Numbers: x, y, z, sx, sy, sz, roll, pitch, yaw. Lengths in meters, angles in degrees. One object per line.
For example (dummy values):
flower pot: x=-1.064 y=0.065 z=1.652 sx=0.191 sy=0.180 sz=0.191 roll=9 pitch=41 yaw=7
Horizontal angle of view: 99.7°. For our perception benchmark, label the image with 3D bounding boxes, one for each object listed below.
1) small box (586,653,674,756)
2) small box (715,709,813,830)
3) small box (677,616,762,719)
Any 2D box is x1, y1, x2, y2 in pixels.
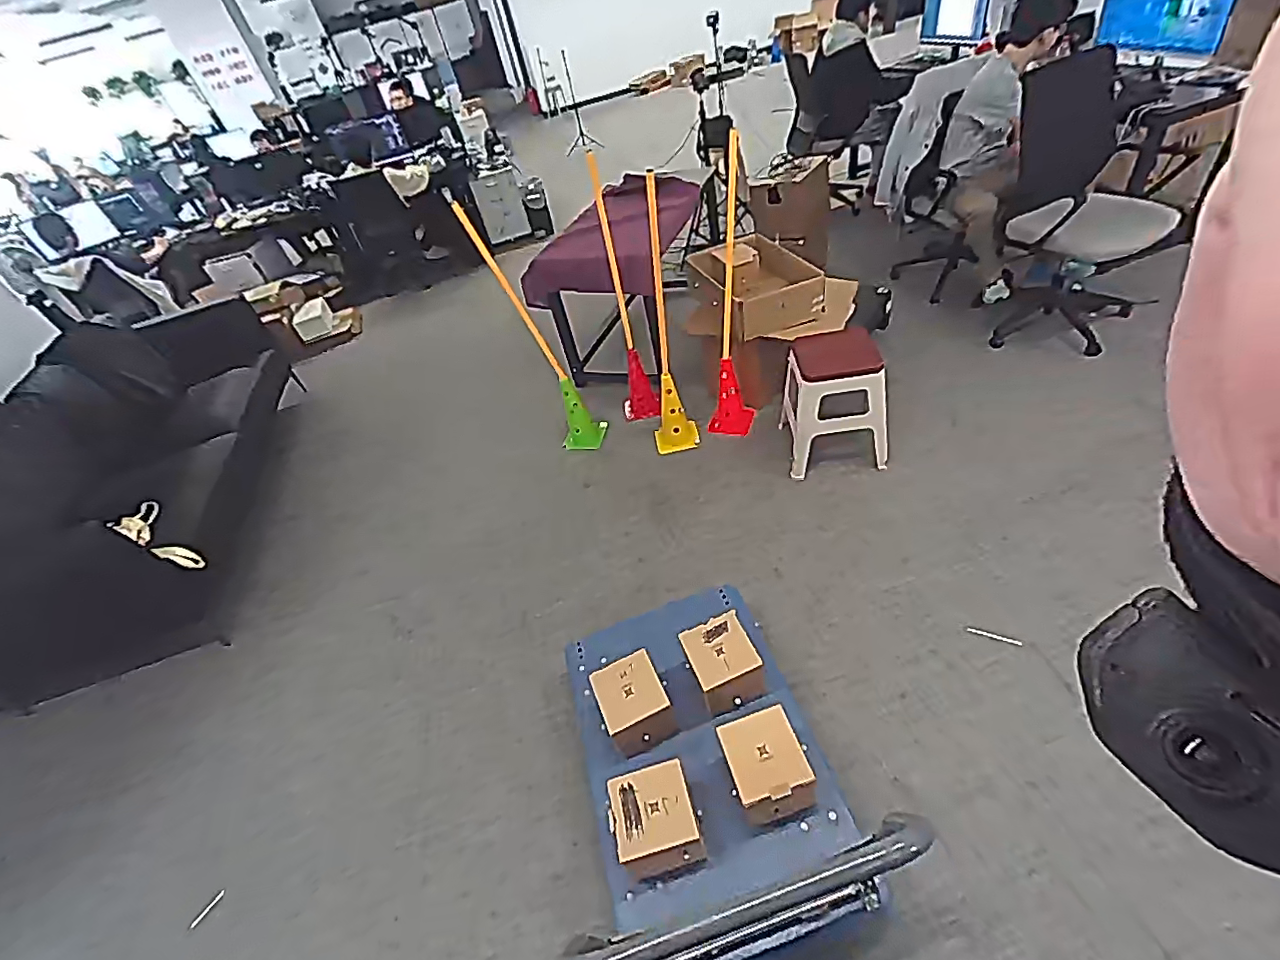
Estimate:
small box: x=-0.022 y=0.599 z=1.426 sx=0.168 sy=0.176 sz=0.179 roll=-23 pitch=43 yaw=-9
small box: x=0.285 y=0.674 z=1.259 sx=0.168 sy=0.176 sz=0.179 roll=-19 pitch=43 yaw=-4
small box: x=0.214 y=0.505 z=1.456 sx=0.168 sy=0.176 sz=0.179 roll=-22 pitch=44 yaw=-6
